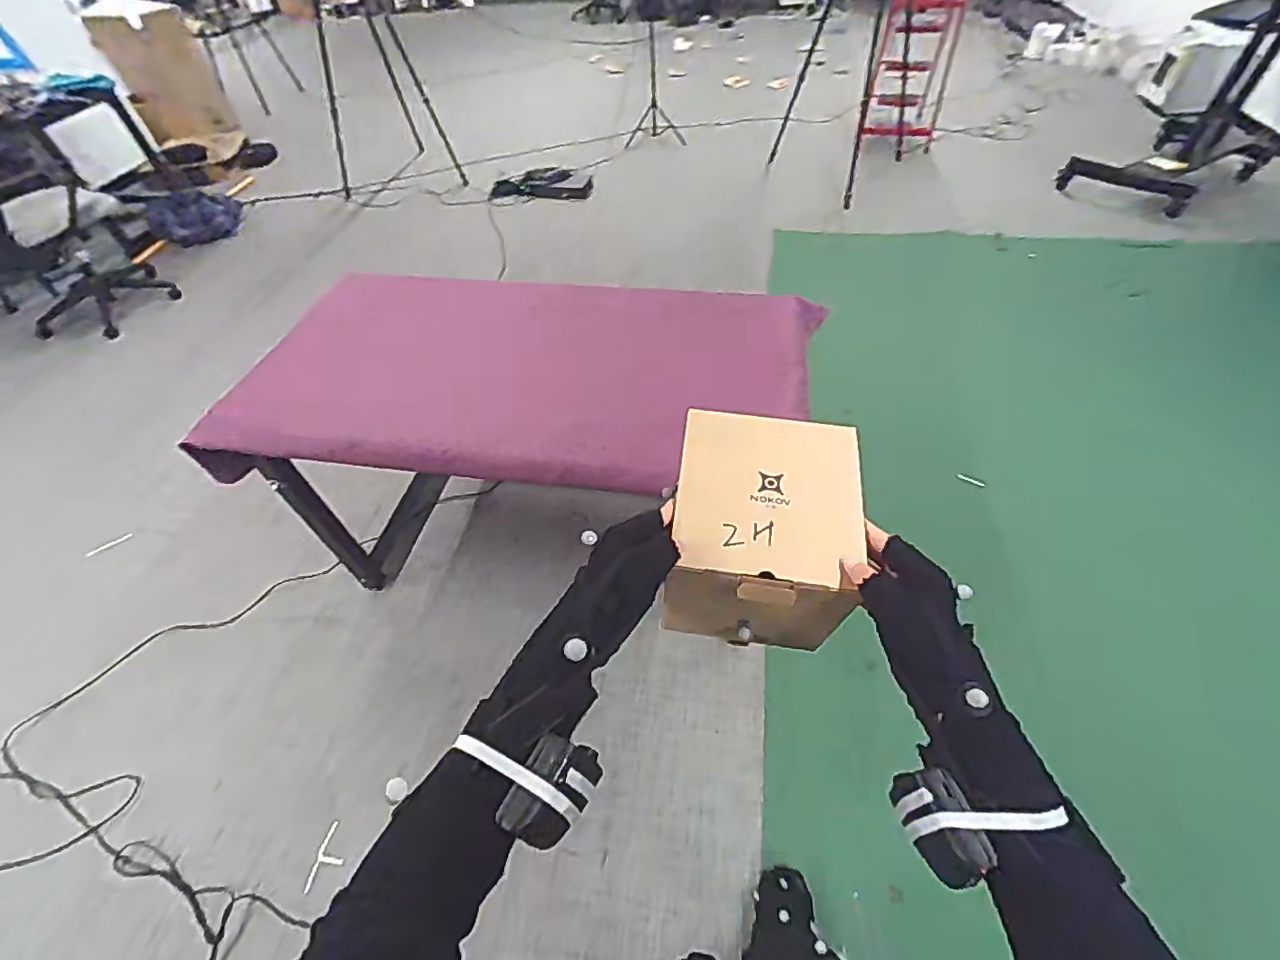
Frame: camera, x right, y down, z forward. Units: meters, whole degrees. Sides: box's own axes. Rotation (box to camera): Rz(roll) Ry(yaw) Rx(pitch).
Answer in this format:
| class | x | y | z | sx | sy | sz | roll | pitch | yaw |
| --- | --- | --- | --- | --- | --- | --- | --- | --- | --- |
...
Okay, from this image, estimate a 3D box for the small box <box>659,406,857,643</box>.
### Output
| class | x | y | z | sx | sy | sz | roll | pitch | yaw |
| --- | --- | --- | --- | --- | --- | --- | --- | --- | --- |
| small box | 0.111 | 0.050 | 0.561 | 0.168 | 0.176 | 0.179 | 6 | 58 | 6 |
